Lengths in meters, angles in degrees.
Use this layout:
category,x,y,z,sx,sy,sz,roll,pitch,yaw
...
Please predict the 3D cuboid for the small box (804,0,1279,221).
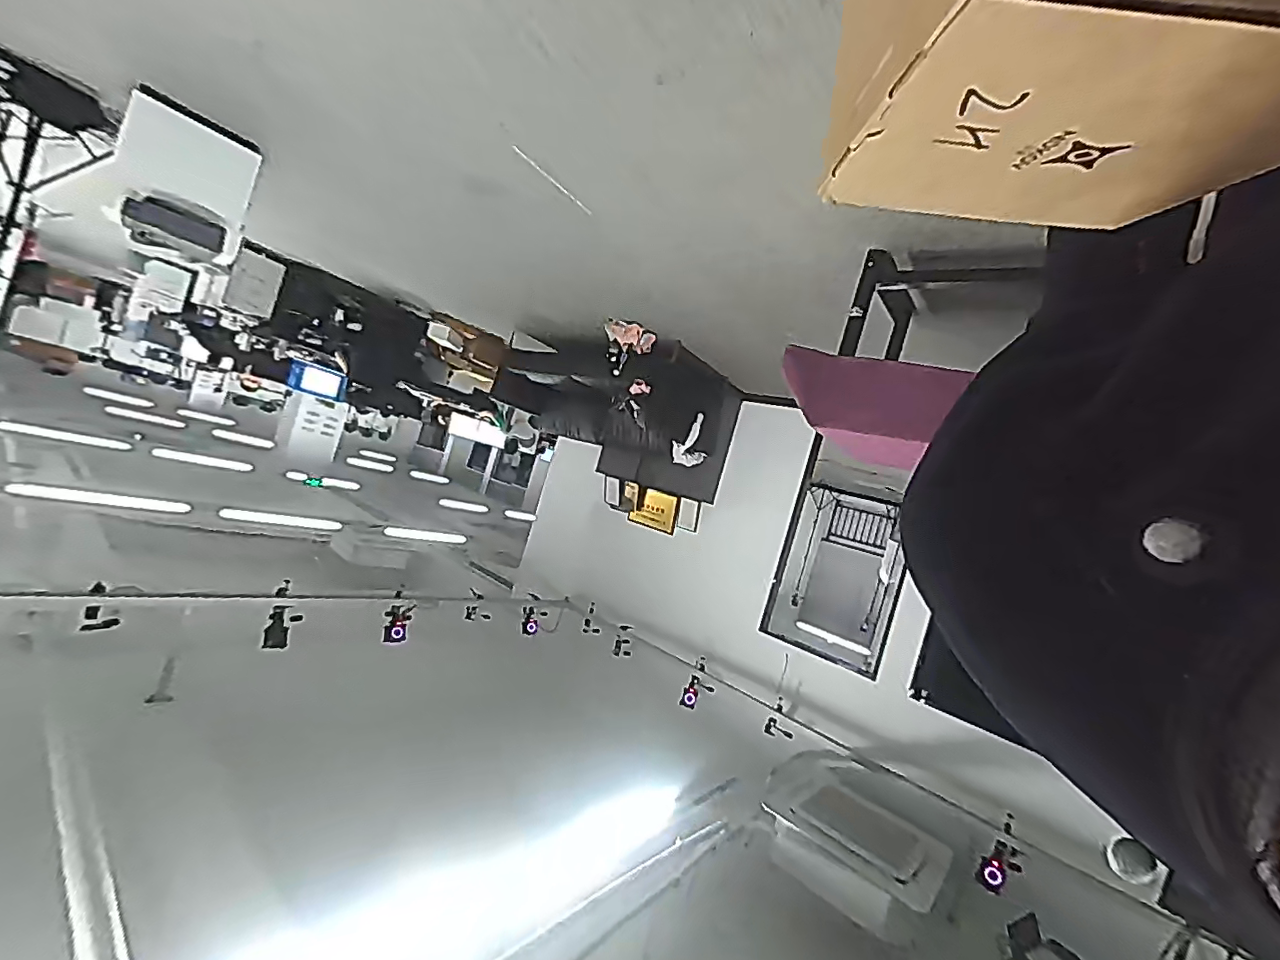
category,x,y,z,sx,sy,sz,roll,pitch,yaw
small box,0.188,-0.227,0.219,0.179,0.176,0.168,7,-172,0
